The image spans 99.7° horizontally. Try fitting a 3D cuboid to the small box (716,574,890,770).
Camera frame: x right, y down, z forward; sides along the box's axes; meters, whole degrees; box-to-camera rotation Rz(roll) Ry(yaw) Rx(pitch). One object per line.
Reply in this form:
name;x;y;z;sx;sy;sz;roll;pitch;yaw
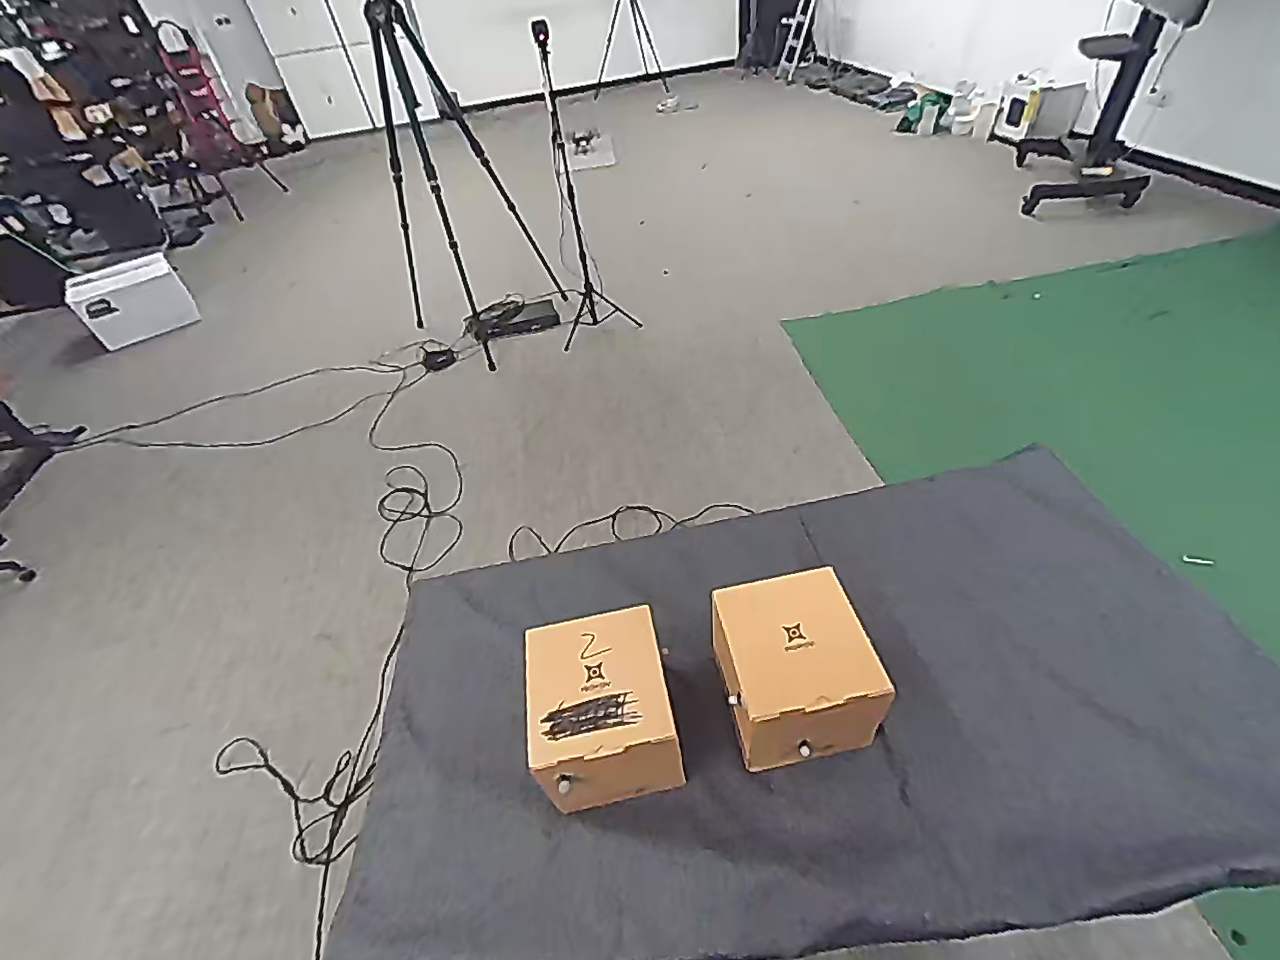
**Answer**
small box;0.200;0.257;0.724;0.168;0.176;0.179;-11;45;-2
